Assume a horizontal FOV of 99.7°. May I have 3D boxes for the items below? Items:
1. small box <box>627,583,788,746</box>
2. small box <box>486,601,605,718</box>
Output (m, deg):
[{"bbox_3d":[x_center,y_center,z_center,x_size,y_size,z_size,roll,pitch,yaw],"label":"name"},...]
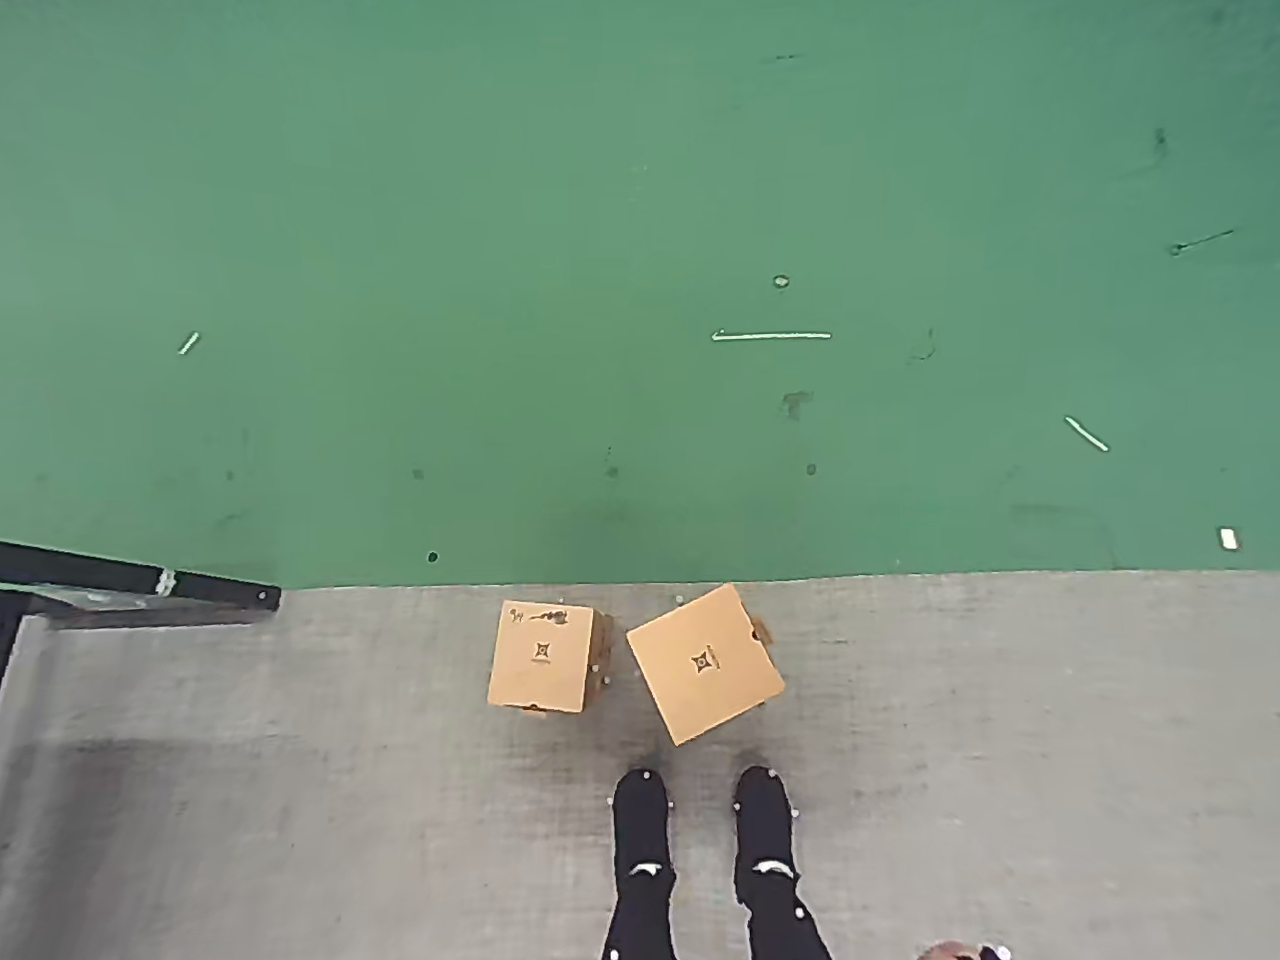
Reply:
[{"bbox_3d":[0.095,0.276,0.826,0.179,0.176,0.168,-25,74,-6],"label":"small box"},{"bbox_3d":[-0.162,0.324,0.990,0.168,0.176,0.179,4,73,5],"label":"small box"}]
